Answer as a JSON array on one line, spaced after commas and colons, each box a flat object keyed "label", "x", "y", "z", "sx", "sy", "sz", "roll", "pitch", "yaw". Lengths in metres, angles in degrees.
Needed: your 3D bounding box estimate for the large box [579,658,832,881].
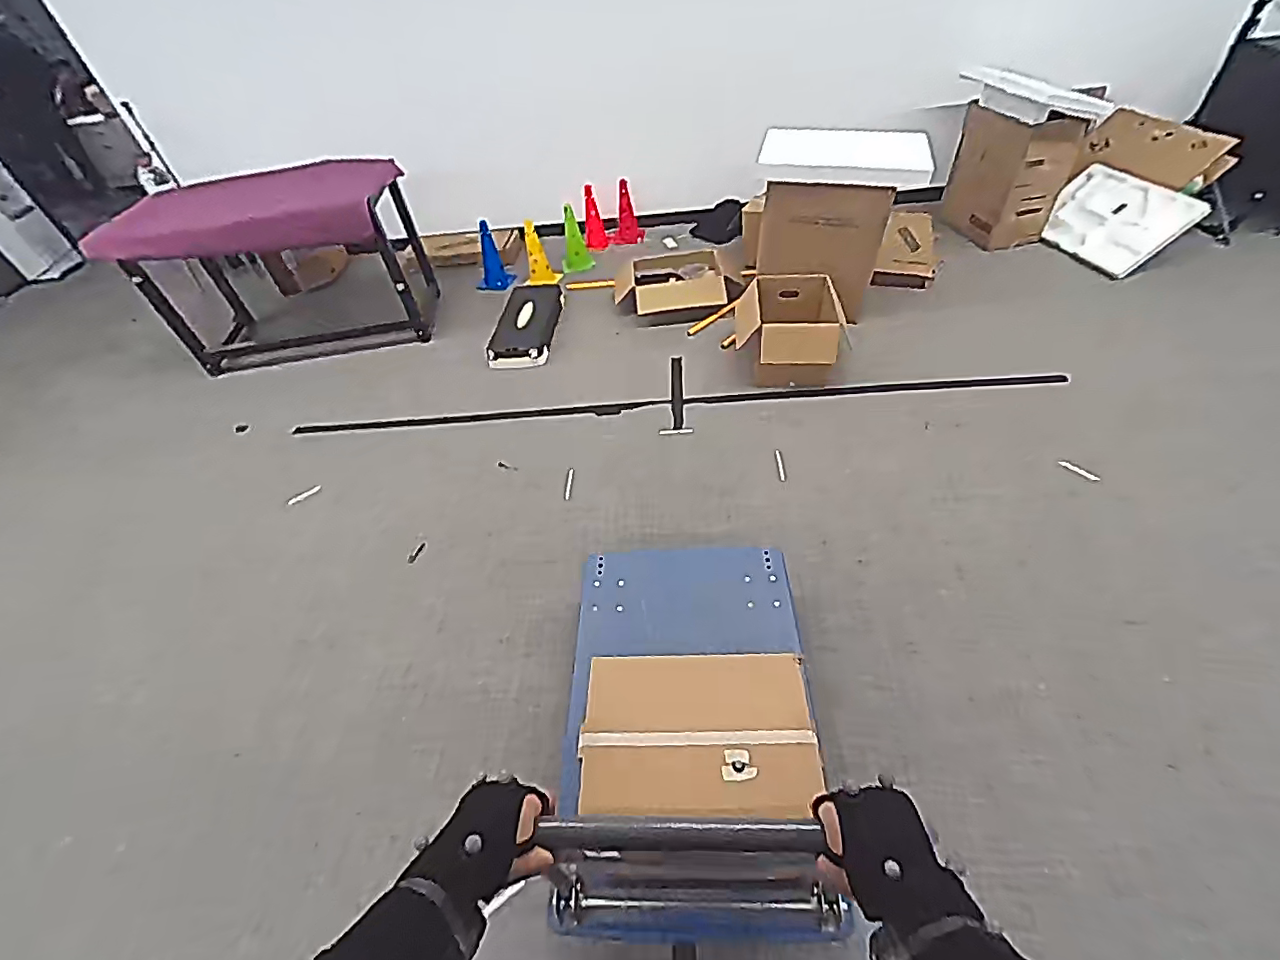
[{"label": "large box", "x": 0.110, "y": 0.563, "z": 1.048, "sx": 0.408, "sy": 0.320, "sz": 0.320, "roll": -2, "pitch": 47, "yaw": 4}]
